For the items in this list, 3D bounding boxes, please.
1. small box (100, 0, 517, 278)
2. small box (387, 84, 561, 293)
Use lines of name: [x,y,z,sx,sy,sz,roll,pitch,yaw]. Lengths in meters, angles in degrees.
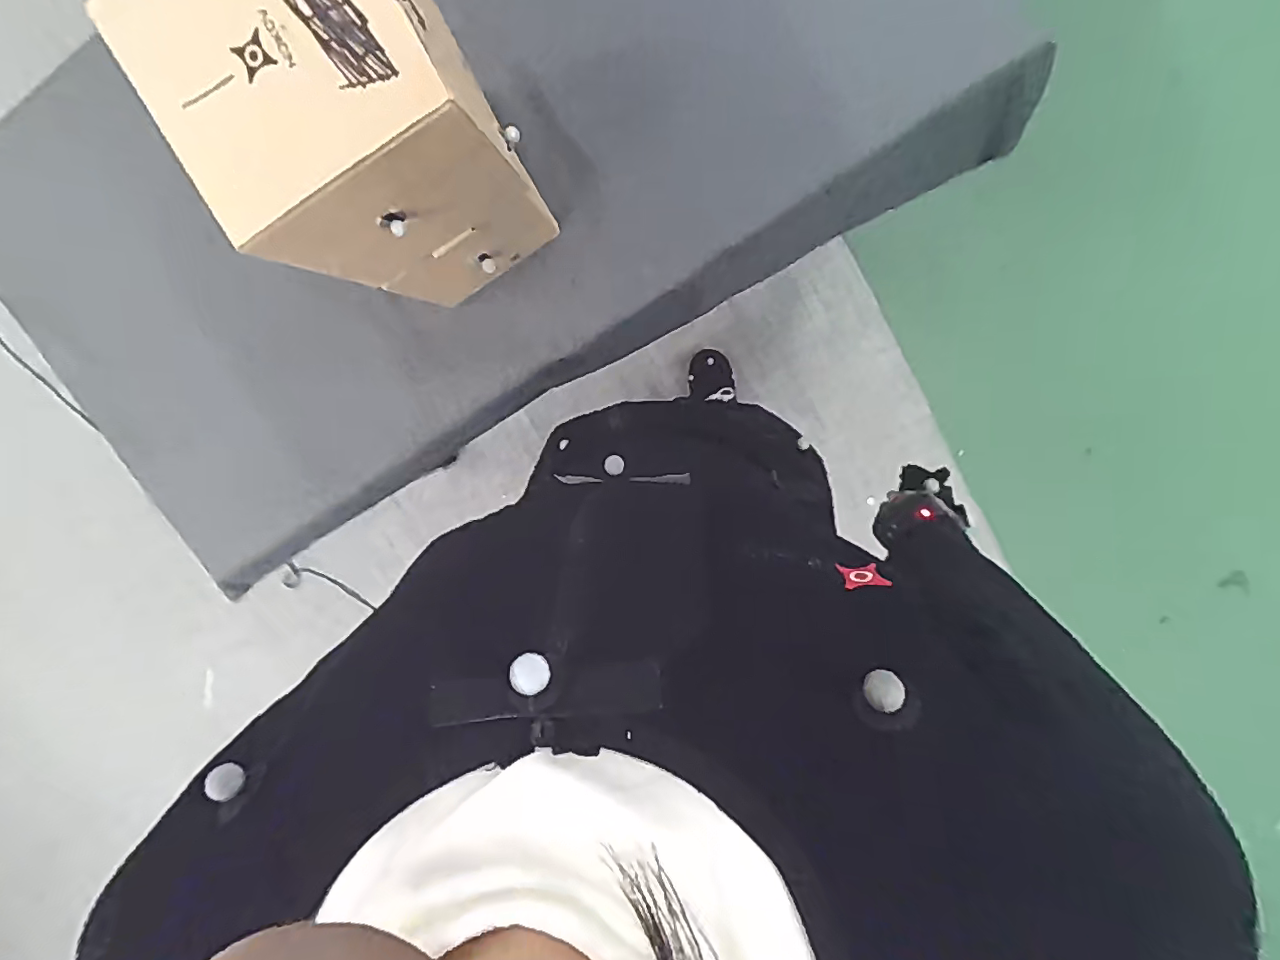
small box: [-0.213,-0.277,0.406,0.179,0.176,0.168,-28,97,12]
small box: [-0.206,-0.315,0.567,0.168,0.176,0.179,-31,98,12]
